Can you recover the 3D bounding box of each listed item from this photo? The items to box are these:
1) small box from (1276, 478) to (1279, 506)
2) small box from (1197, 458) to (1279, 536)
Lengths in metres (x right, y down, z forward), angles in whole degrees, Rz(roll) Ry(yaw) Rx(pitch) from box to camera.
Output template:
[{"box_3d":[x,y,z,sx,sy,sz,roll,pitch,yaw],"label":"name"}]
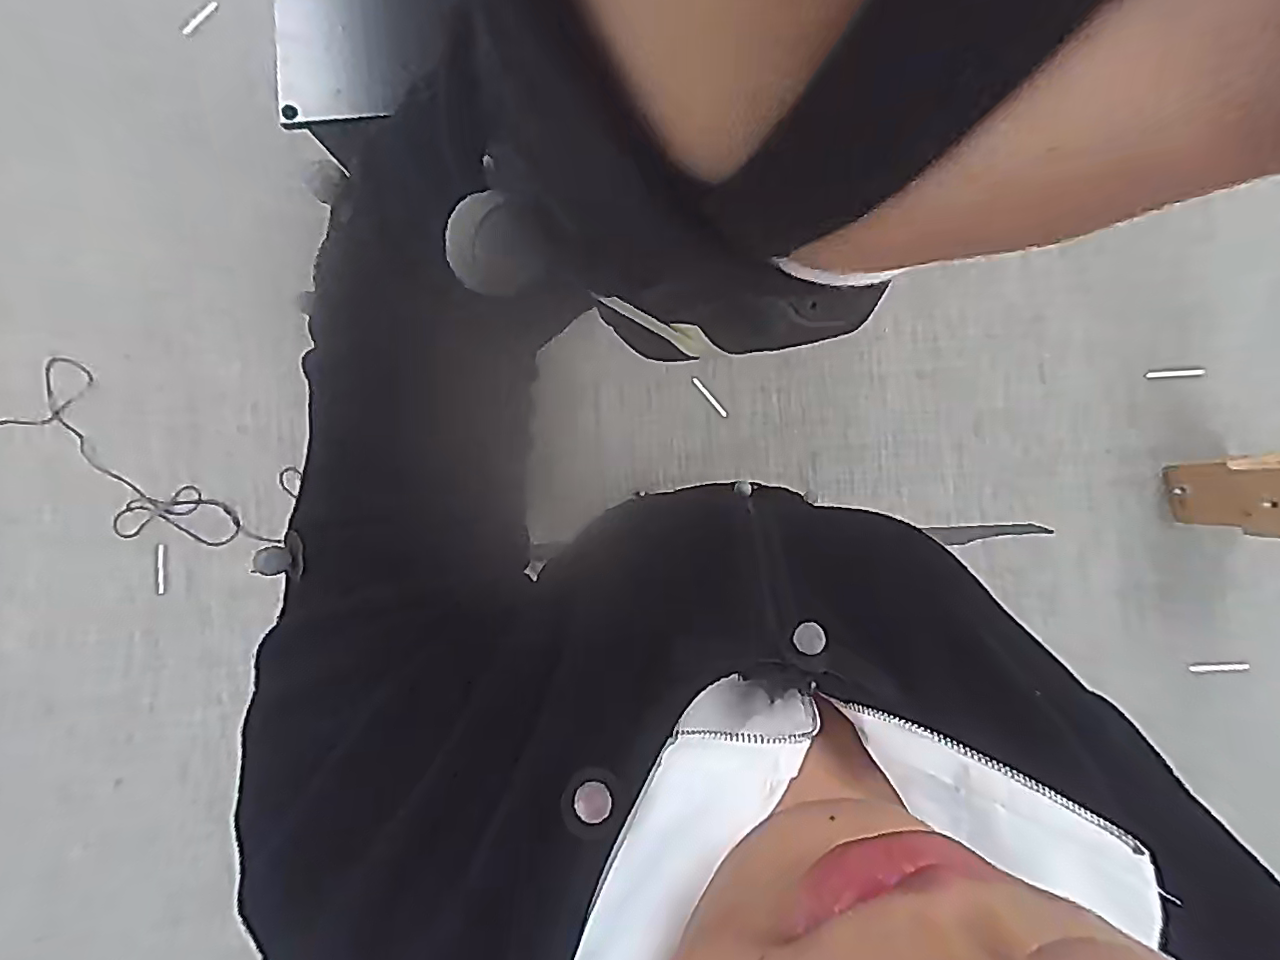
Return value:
[{"box_3d":[1.535,0.052,1.153,0.179,0.176,0.168,-11,88,2],"label":"small box"},{"box_3d":[1.539,0.038,1.317,0.179,0.176,0.168,-10,88,2],"label":"small box"}]
